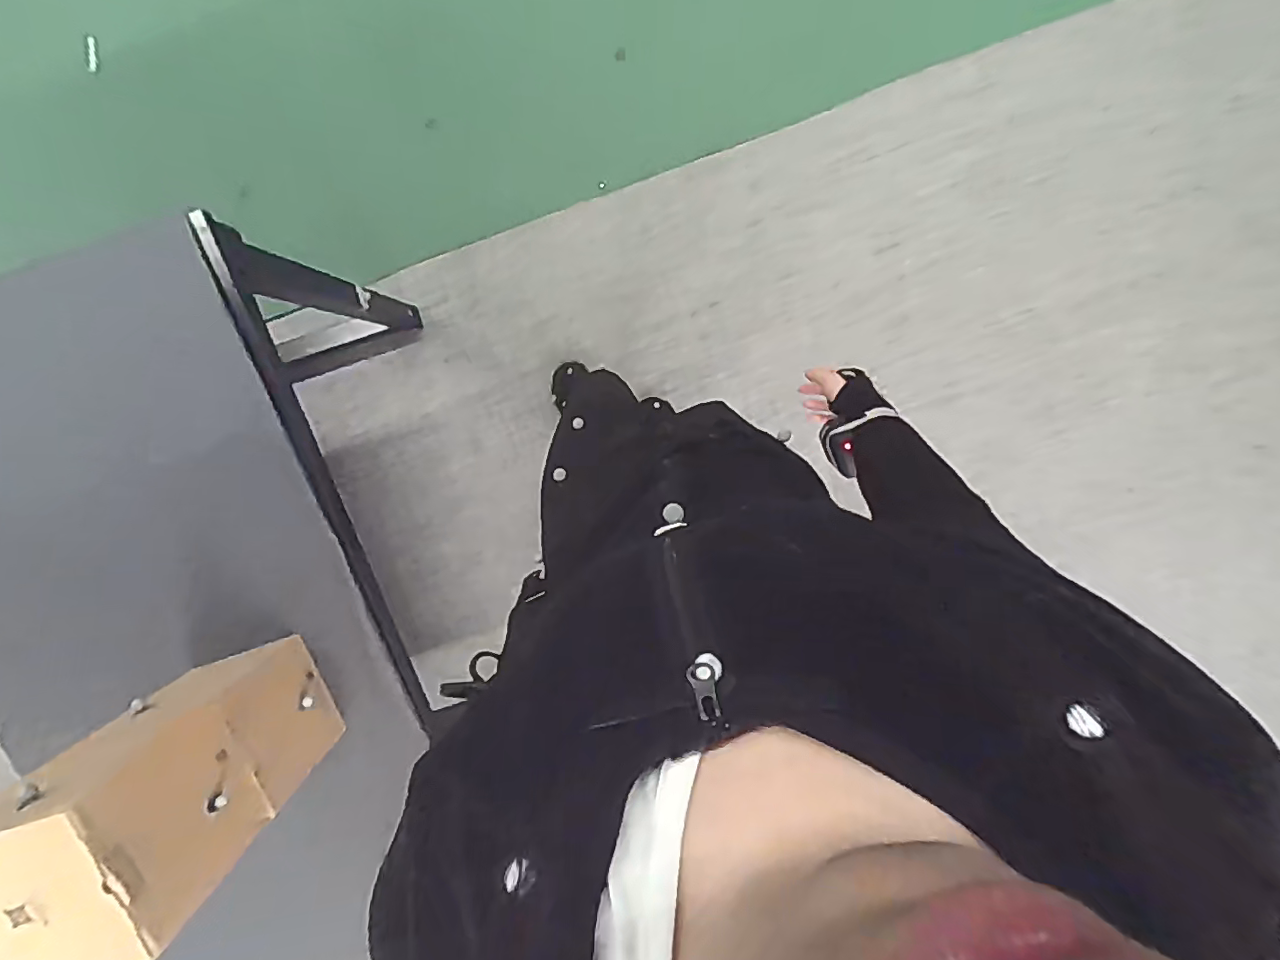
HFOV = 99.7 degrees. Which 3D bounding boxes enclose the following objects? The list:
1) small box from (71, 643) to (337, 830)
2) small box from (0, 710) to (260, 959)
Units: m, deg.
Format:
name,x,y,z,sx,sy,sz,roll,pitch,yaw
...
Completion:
name,x,y,z,sx,sy,sz,roll,pitch,yaw
small box,-0.544,0.342,0.703,0.179,0.176,0.168,-19,100,2
small box,-0.542,0.368,0.543,0.179,0.176,0.168,-19,99,2
